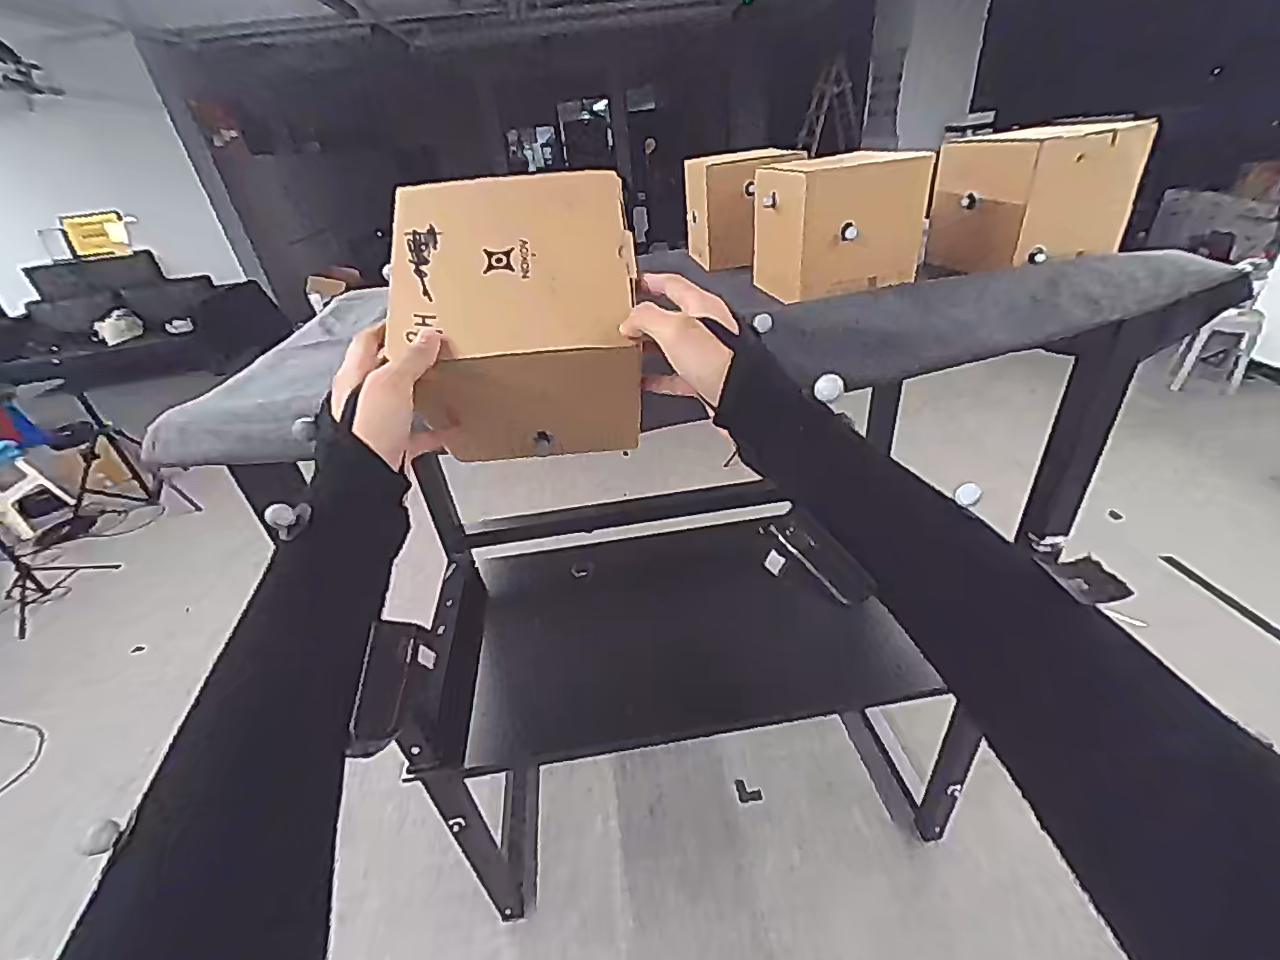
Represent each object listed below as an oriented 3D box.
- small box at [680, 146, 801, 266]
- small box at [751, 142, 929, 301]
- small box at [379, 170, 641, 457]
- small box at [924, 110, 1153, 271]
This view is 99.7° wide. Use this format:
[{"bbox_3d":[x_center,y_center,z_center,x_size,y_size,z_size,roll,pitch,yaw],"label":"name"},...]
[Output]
[{"bbox_3d":[0.178,-0.496,0.979,0.179,0.176,0.168,-9,33,-3],"label":"small box"},{"bbox_3d":[0.260,-0.353,0.743,0.168,0.176,0.179,-11,32,-5],"label":"small box"},{"bbox_3d":[-0.096,-0.131,0.464,0.179,0.176,0.168,-5,68,-3],"label":"small box"},{"bbox_3d":[0.531,-0.396,0.751,0.168,0.176,0.179,-13,32,-8],"label":"small box"}]
